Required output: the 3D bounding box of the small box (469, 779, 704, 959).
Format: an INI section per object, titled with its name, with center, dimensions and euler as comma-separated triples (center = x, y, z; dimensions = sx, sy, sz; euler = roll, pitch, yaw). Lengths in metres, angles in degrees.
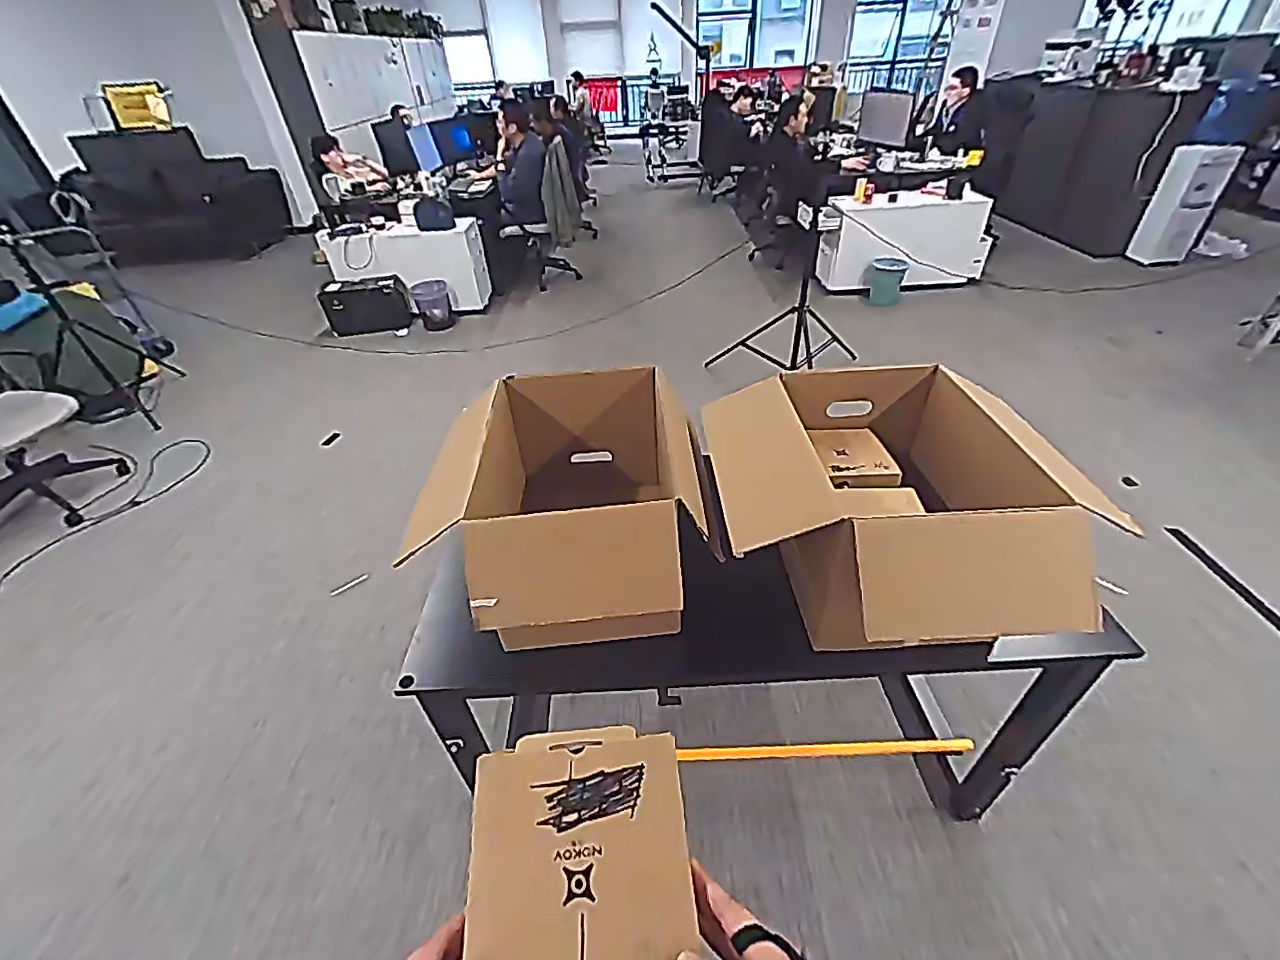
[small box]
center = -0.039, 0.370, 0.448
dimensions = 0.168, 0.176, 0.179
euler = -5, 51, -4
